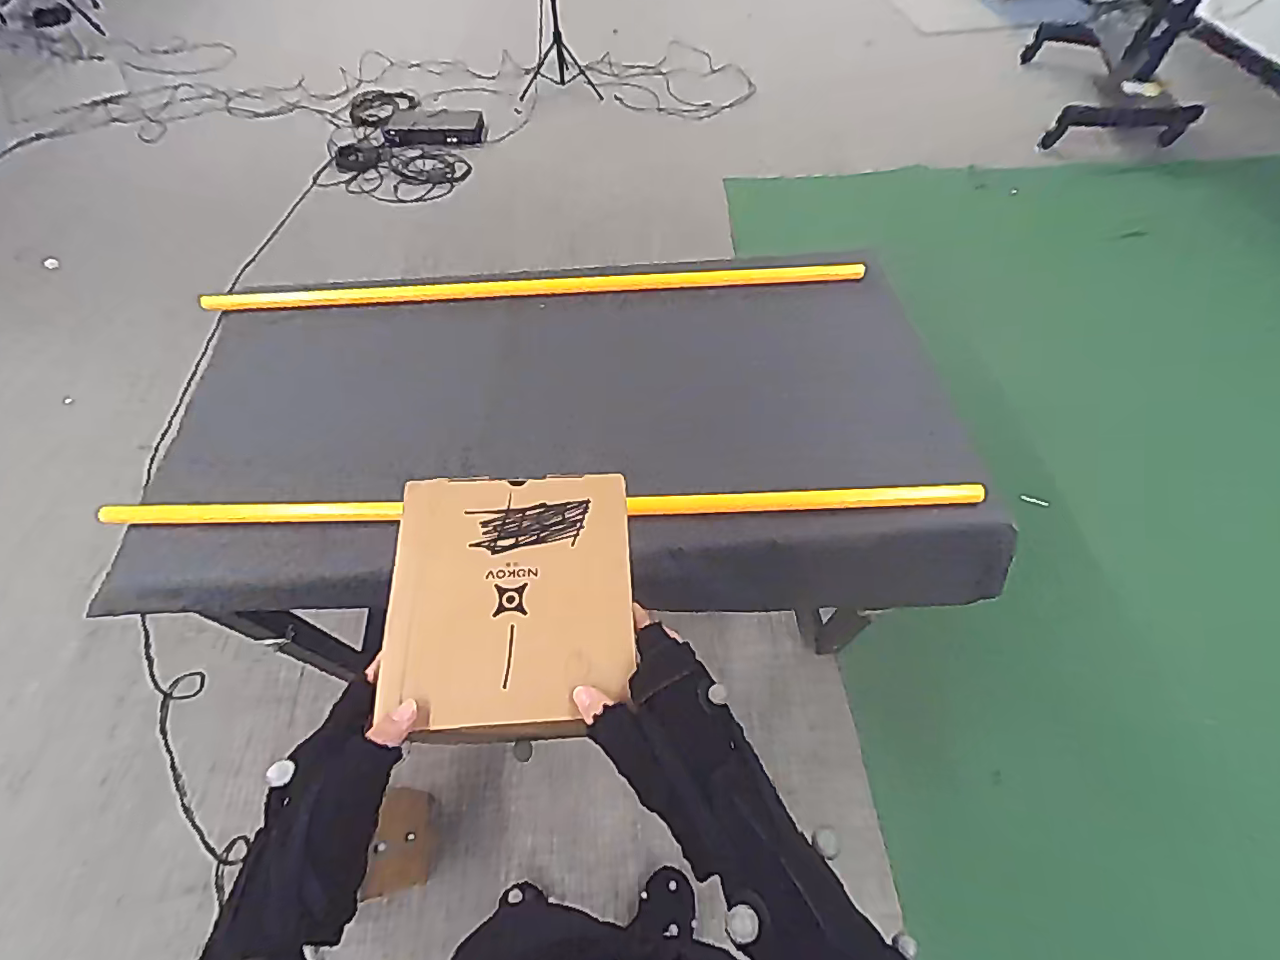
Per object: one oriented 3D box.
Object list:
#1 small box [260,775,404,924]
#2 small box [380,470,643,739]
[{"bbox_3d":[-0.537,0.648,0.967,0.168,0.176,0.179,-14,59,-7],"label":"small box"},{"bbox_3d":[-0.088,0.108,0.446,0.168,0.176,0.179,-3,62,-4],"label":"small box"}]
